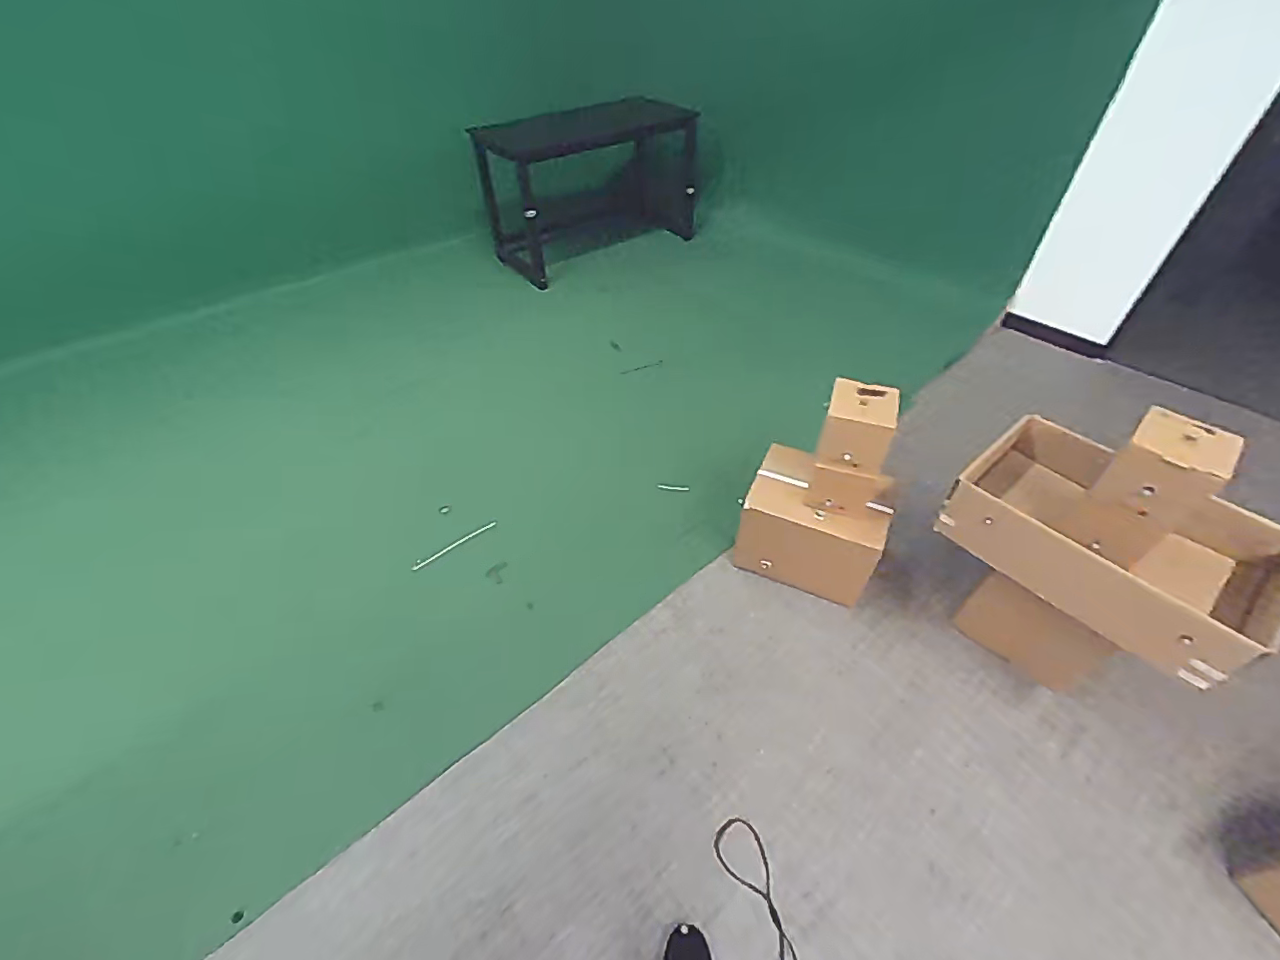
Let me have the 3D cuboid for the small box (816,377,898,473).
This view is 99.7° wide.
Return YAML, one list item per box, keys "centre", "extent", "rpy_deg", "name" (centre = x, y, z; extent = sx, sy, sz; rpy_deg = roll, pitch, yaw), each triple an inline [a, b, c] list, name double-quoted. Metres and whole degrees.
- centre: [0.583, -0.149, 1.463]
  extent: [0.168, 0.176, 0.179]
  rpy_deg: [14, 47, 16]
  name: "small box"

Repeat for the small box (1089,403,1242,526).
- centre: [1.135, -0.032, 1.182]
  extent: [0.179, 0.176, 0.168]
  rpy_deg: [-36, 55, -27]
  name: "small box"

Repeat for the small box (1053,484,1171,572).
- centre: [1.144, 0.084, 1.298]
  extent: [0.179, 0.176, 0.168]
  rpy_deg: [-33, 53, -26]
  name: "small box"
